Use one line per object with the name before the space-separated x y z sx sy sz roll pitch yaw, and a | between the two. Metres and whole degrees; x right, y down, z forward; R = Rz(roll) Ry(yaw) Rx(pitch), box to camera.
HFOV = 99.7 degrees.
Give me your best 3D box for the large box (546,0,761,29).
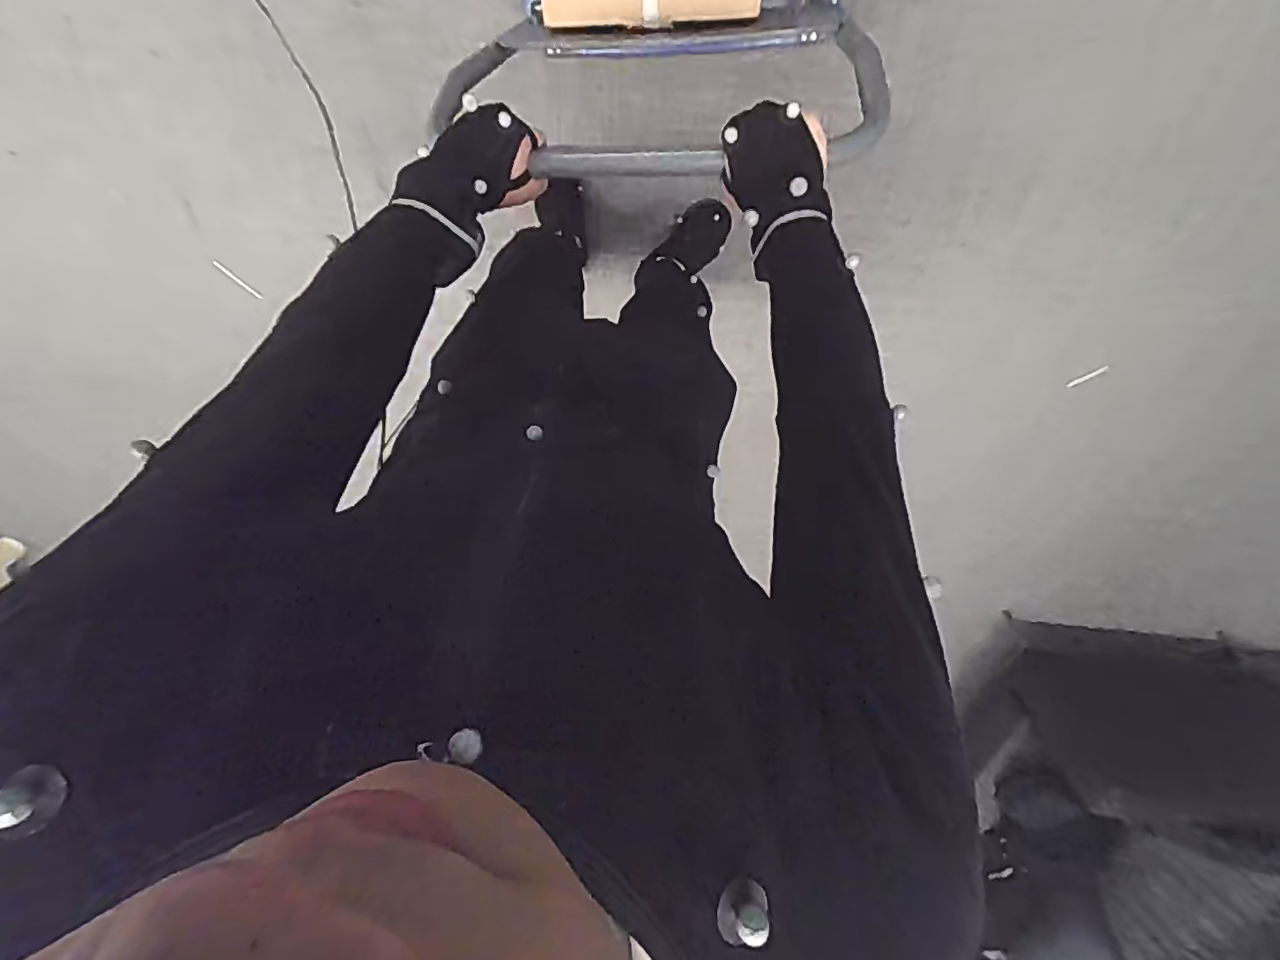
large box | 0.028 -0.913 0.763 0.320 0.320 0.408 3 132 6
